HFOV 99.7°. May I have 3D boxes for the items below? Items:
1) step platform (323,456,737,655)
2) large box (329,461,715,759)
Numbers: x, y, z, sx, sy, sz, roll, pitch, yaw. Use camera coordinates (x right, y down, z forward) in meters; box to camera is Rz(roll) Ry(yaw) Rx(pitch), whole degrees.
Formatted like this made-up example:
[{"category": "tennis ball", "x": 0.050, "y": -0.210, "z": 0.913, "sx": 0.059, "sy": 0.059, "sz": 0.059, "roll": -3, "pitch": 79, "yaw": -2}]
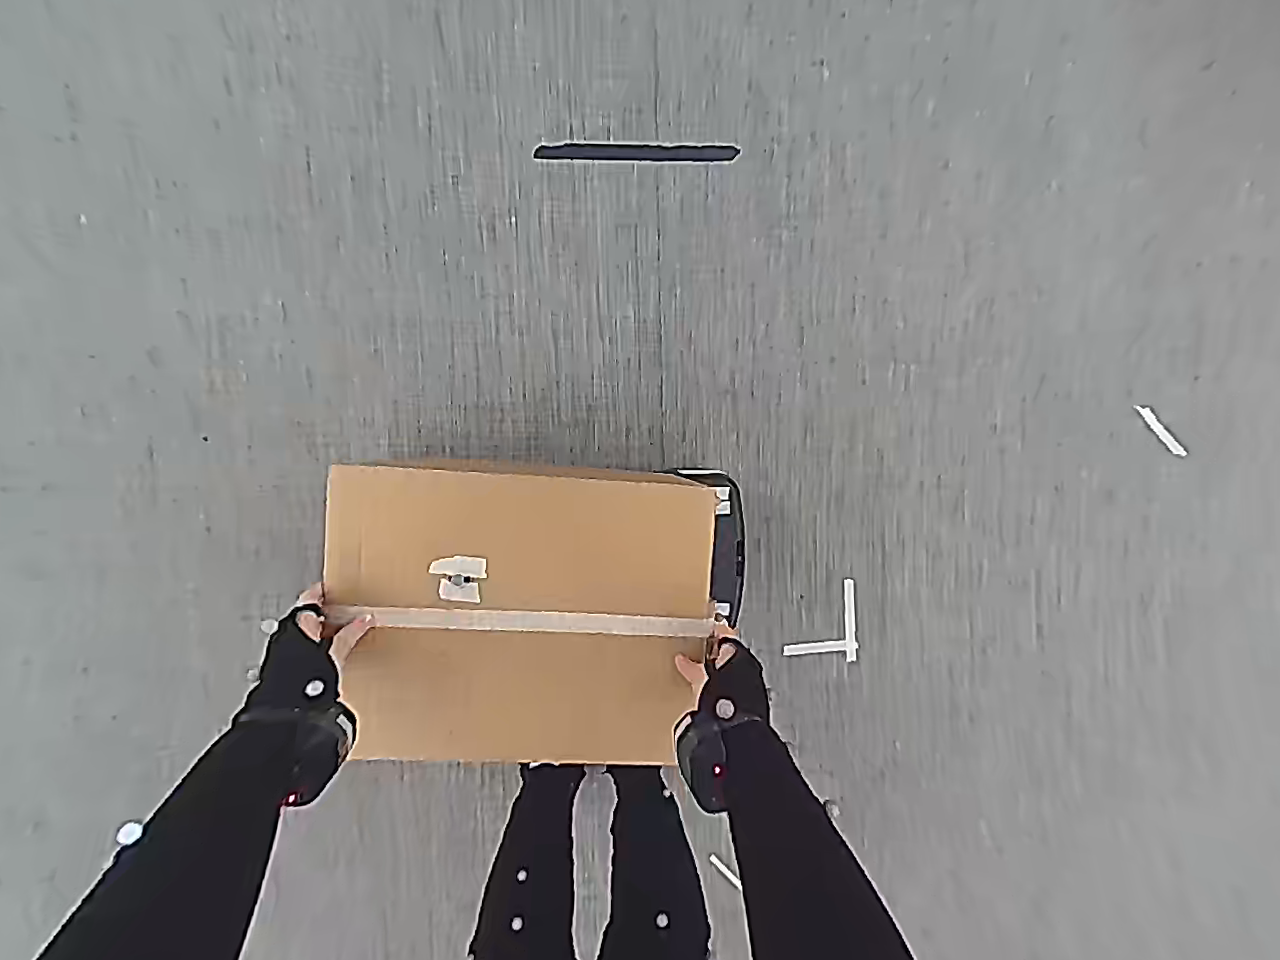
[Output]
[{"category": "step platform", "x": -0.174, "y": 0.130, "z": 0.957, "sx": 0.684, "sy": 0.204, "sz": 0.286, "roll": 5, "pitch": 92, "yaw": -4}, {"category": "large box", "x": -0.129, "y": 0.138, "z": 0.722, "sx": 0.408, "sy": 0.320, "sz": 0.320, "roll": 3, "pitch": 91, "yaw": -4}]
